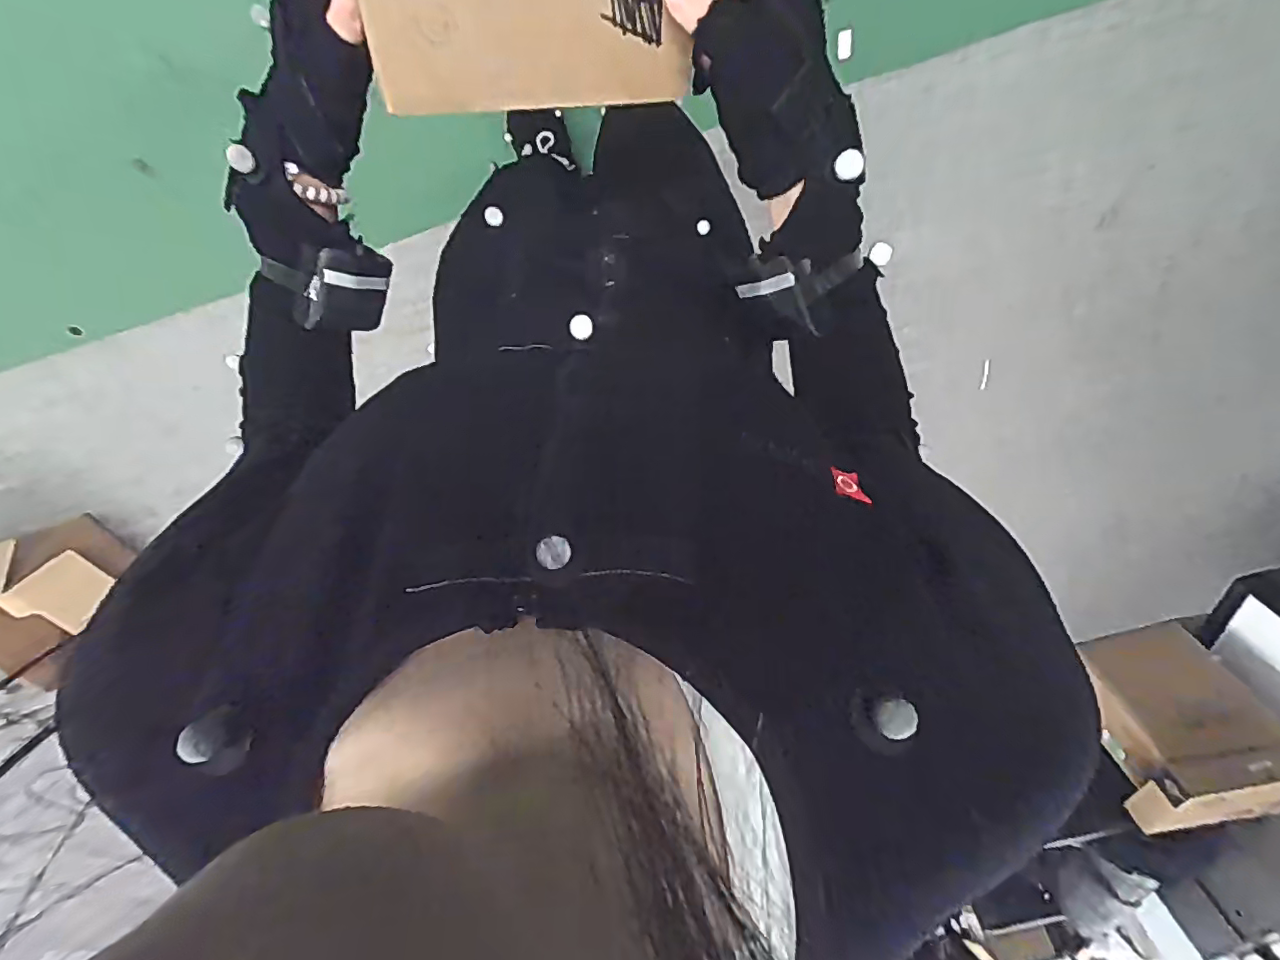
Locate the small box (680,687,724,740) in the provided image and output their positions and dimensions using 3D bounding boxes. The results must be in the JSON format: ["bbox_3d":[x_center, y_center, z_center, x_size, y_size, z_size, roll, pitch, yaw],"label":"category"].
[{"bbox_3d":[0.308,1.154,2.677,0.168,0.176,0.179,-18,129,5],"label":"small box"}]

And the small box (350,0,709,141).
[{"bbox_3d":[-0.071,-0.307,0.285,0.179,0.176,0.168,-15,145,-16],"label":"small box"}]

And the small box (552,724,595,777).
[{"bbox_3d":[-0.337,1.374,2.752,0.179,0.176,0.168,-18,129,5],"label":"small box"}]
